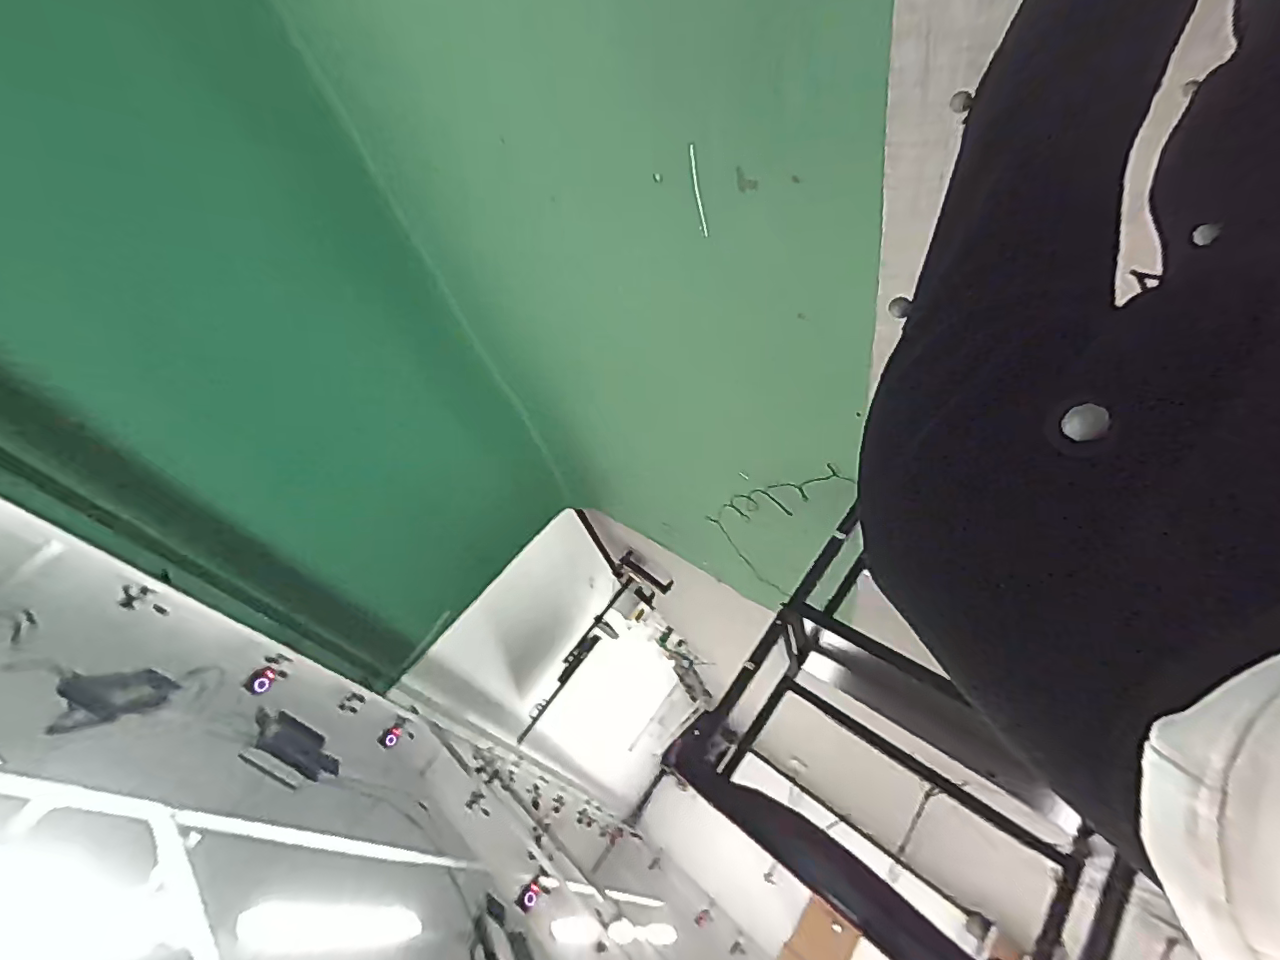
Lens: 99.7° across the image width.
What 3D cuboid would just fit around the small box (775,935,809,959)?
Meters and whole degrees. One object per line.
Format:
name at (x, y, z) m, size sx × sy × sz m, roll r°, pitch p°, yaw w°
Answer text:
small box at (0.468, 1.492, 1.583) m, size 0.179 × 0.176 × 0.168 m, roll 26°, pitch 155°, yaw 33°

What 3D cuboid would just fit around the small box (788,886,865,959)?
small box at (0.569, 1.378, 1.646) m, size 0.168 × 0.176 × 0.179 m, roll 27°, pitch 155°, yaw 33°
